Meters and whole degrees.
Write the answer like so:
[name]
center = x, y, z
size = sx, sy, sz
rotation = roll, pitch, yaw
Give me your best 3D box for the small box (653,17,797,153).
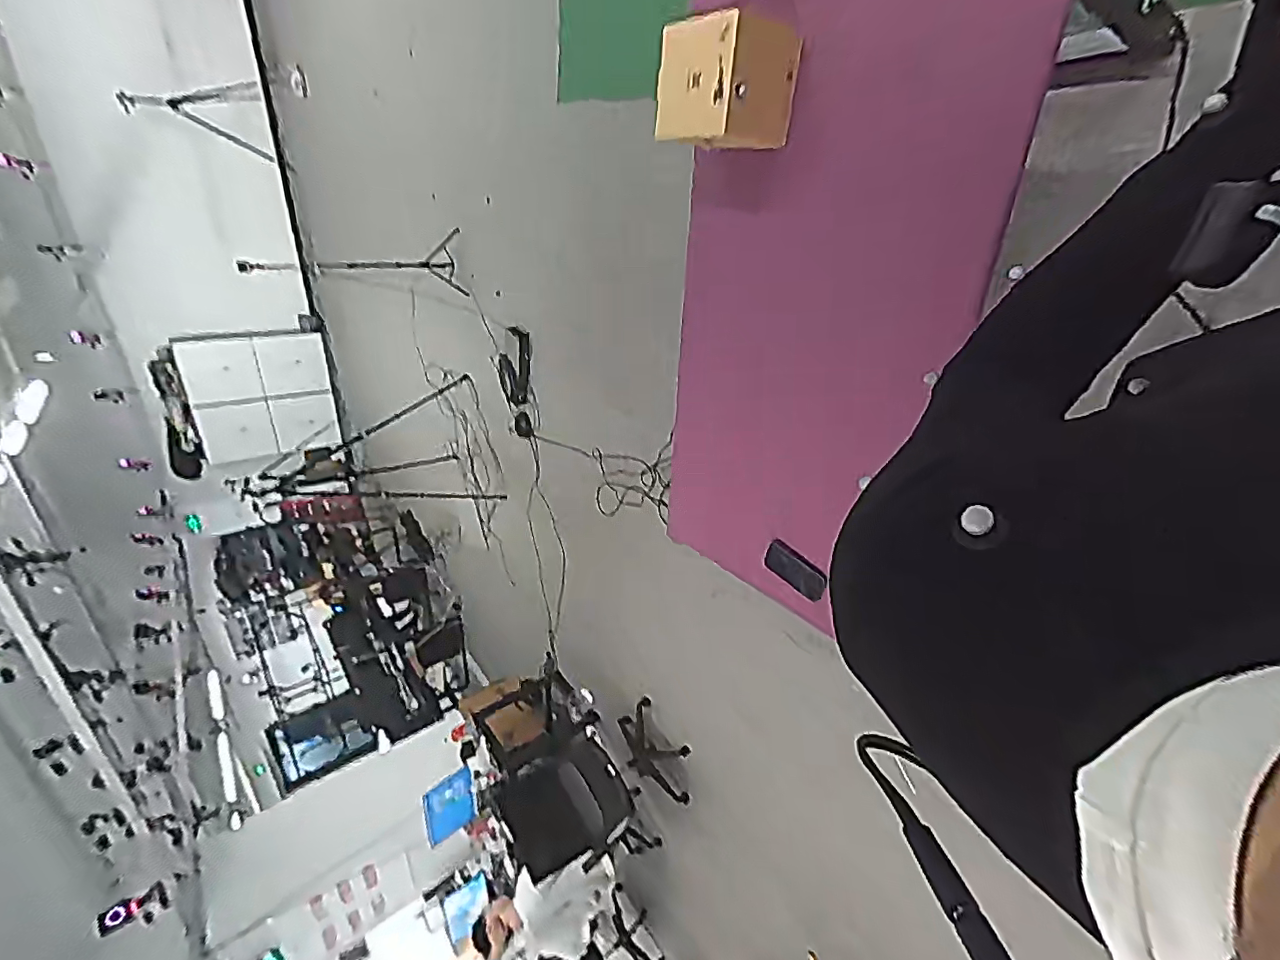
[small box]
center = 0.146, -0.686, 0.960
size = 0.179, 0.176, 0.168
rotation = 32, 129, 42
